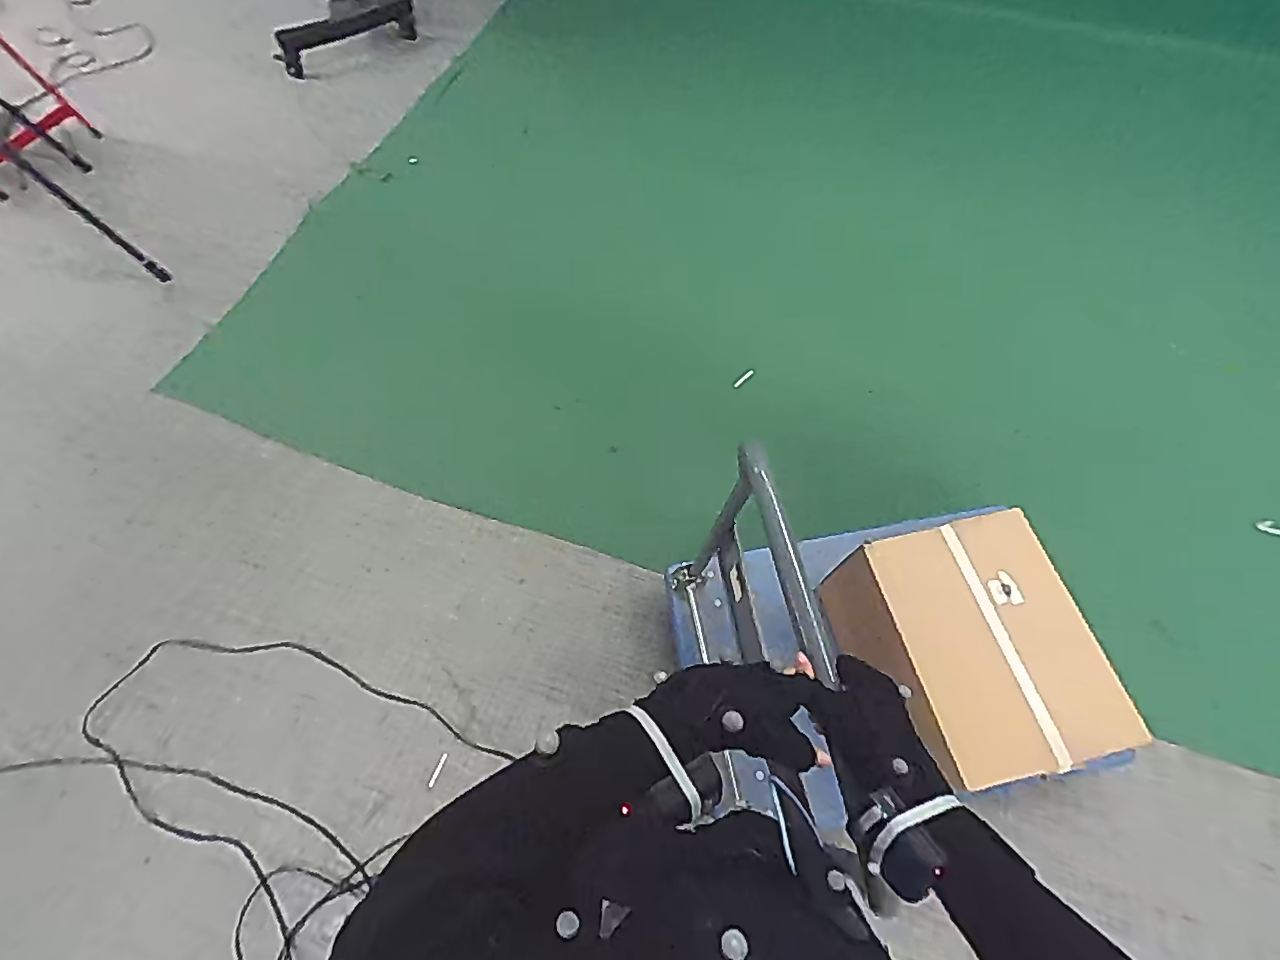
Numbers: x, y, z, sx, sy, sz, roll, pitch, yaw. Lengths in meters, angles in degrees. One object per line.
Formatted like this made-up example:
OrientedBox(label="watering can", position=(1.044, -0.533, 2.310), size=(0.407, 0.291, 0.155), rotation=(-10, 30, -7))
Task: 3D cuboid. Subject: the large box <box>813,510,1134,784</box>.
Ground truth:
OrientedBox(label="large box", position=(0.588, 0.326, 1.052), size=(0.320, 0.320, 0.408), rotation=(-12, 63, -6))
